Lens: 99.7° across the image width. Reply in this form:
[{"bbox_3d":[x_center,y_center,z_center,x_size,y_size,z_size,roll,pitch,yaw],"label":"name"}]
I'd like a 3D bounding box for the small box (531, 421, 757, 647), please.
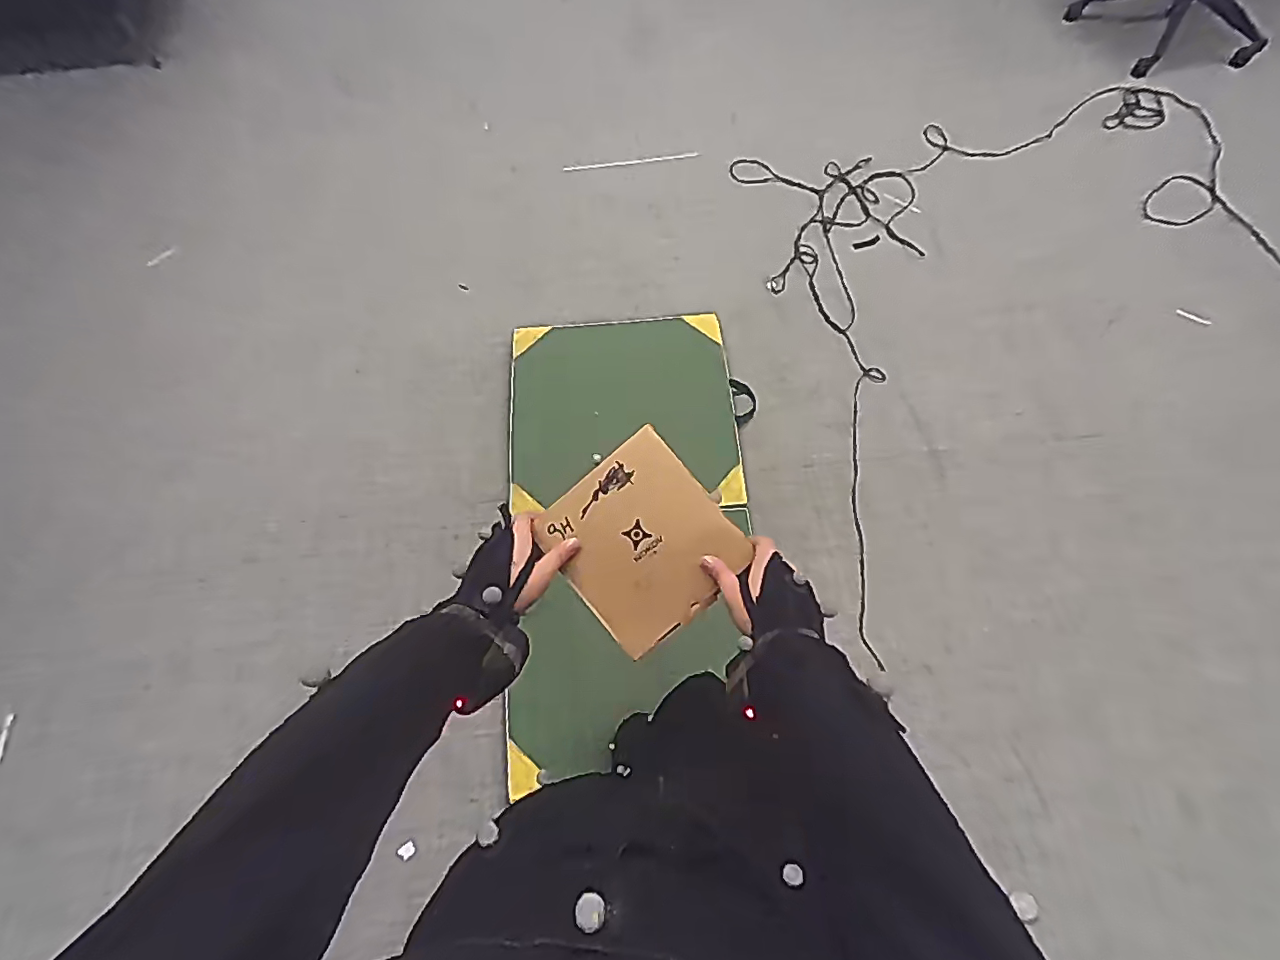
[{"bbox_3d":[0.008,0.056,0.626,0.168,0.176,0.179,-40,86,1],"label":"small box"}]
